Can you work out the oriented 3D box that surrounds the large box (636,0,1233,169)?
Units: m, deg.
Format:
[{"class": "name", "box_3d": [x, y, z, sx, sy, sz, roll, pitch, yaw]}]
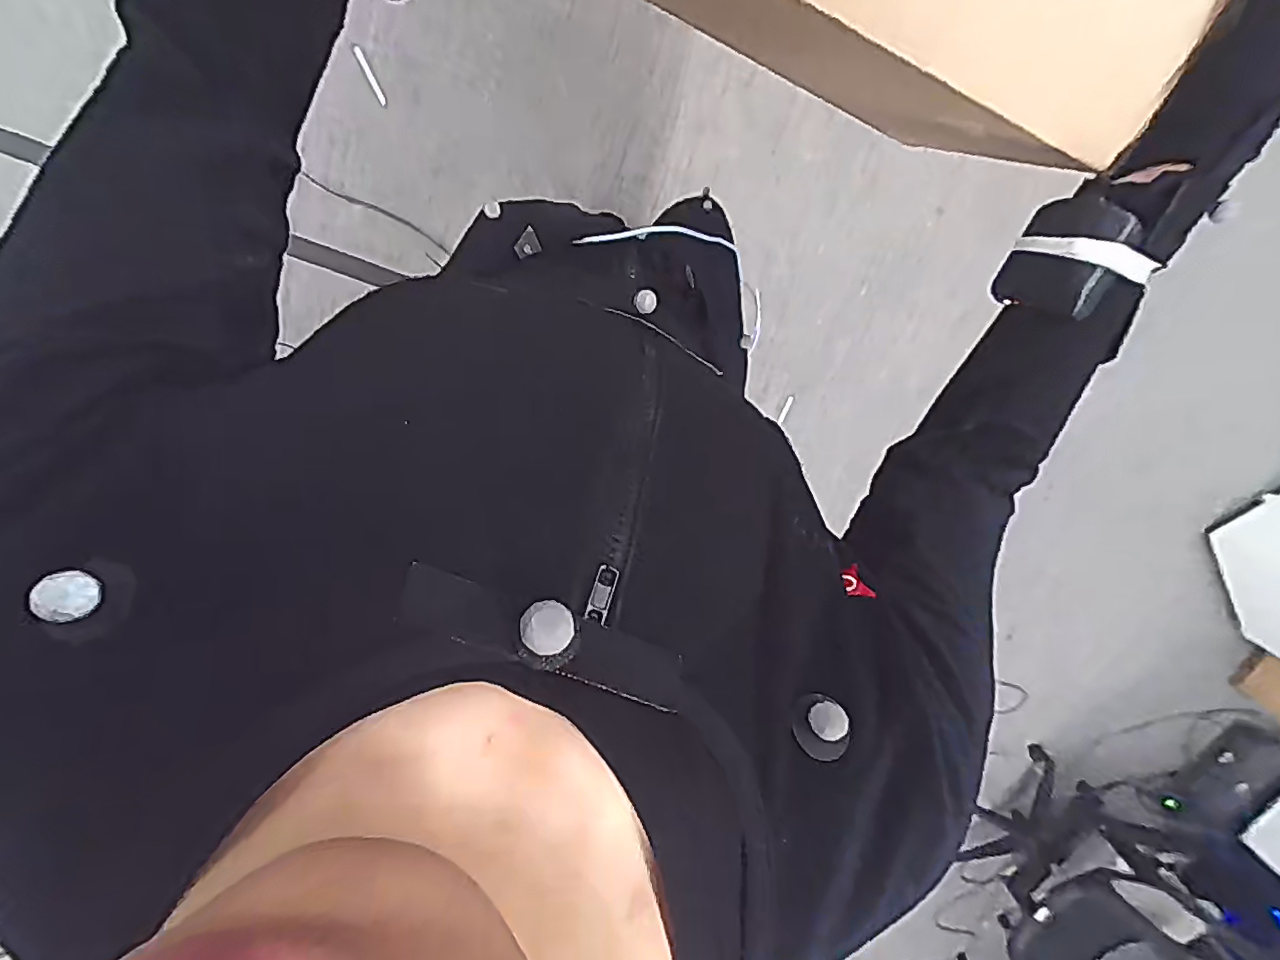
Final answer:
[{"class": "large box", "box_3d": [0.178, -0.467, 0.361, 0.408, 0.320, 0.320, 19, 124, -13]}]
